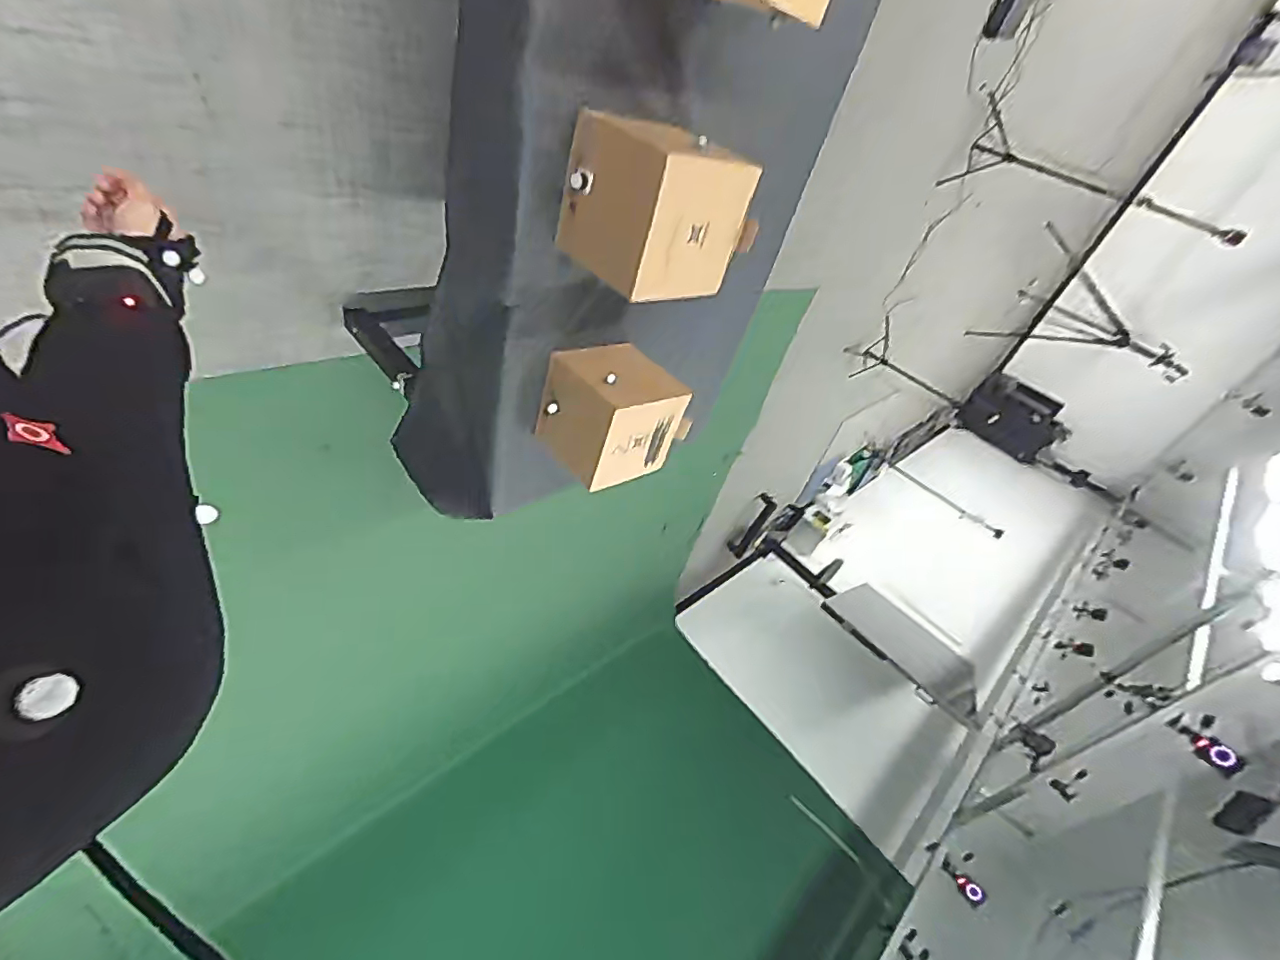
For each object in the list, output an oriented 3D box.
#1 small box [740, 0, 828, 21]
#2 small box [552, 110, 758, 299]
[{"bbox_3d":[0.101,-0.581,0.517,0.179,0.176,0.168,-23,145,-41],"label":"small box"},{"bbox_3d":[0.014,-0.354,0.701,0.179,0.176,0.168,-22,143,-40],"label":"small box"}]
